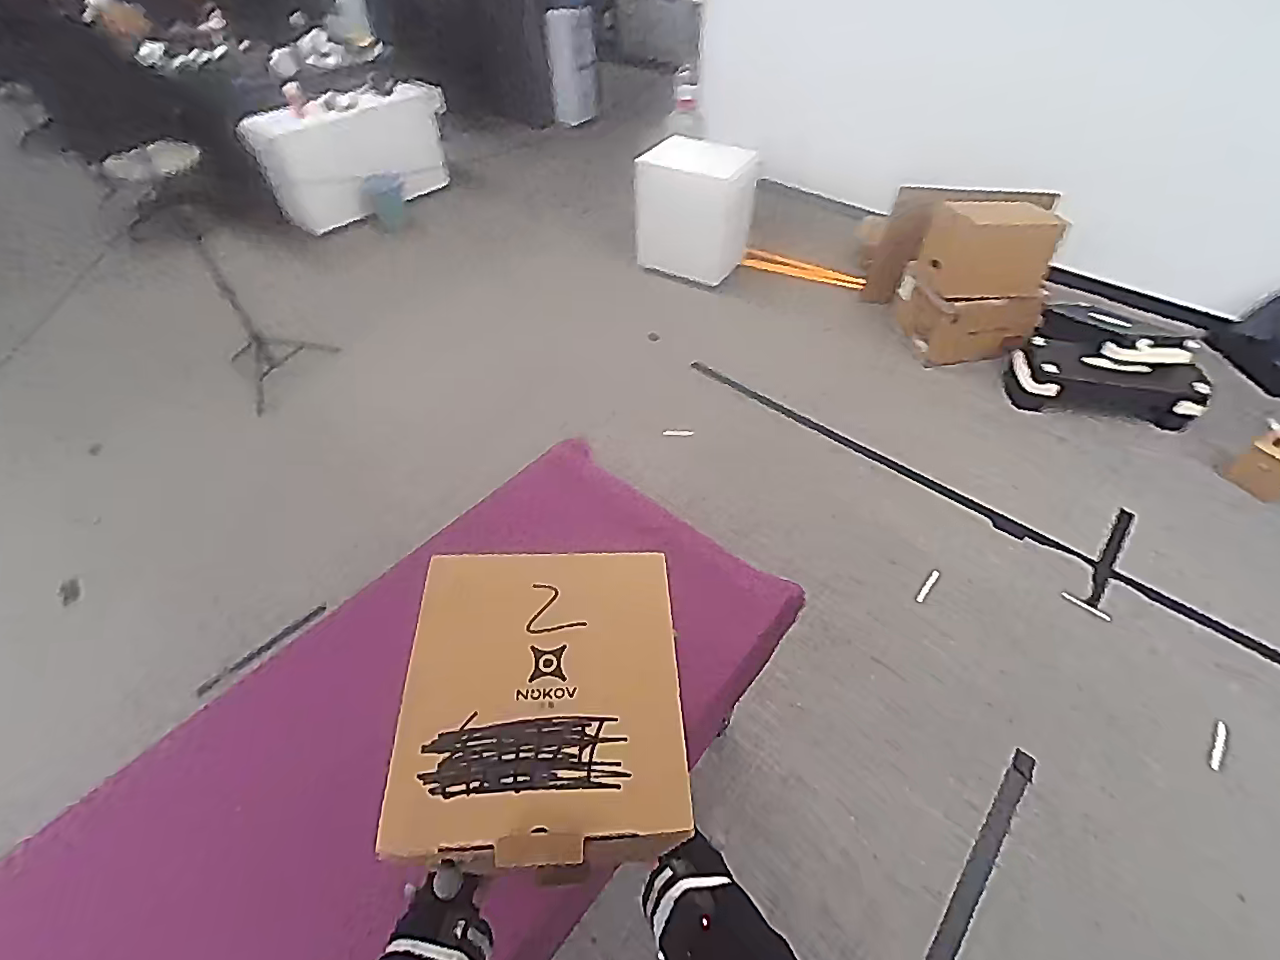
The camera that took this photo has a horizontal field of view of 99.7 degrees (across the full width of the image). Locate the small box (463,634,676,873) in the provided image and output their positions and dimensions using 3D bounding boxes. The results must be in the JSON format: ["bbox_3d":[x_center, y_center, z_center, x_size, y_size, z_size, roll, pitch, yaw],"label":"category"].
[{"bbox_3d":[-0.064,0.266,0.524,0.168,0.176,0.179,0,52,-6],"label":"small box"}]
